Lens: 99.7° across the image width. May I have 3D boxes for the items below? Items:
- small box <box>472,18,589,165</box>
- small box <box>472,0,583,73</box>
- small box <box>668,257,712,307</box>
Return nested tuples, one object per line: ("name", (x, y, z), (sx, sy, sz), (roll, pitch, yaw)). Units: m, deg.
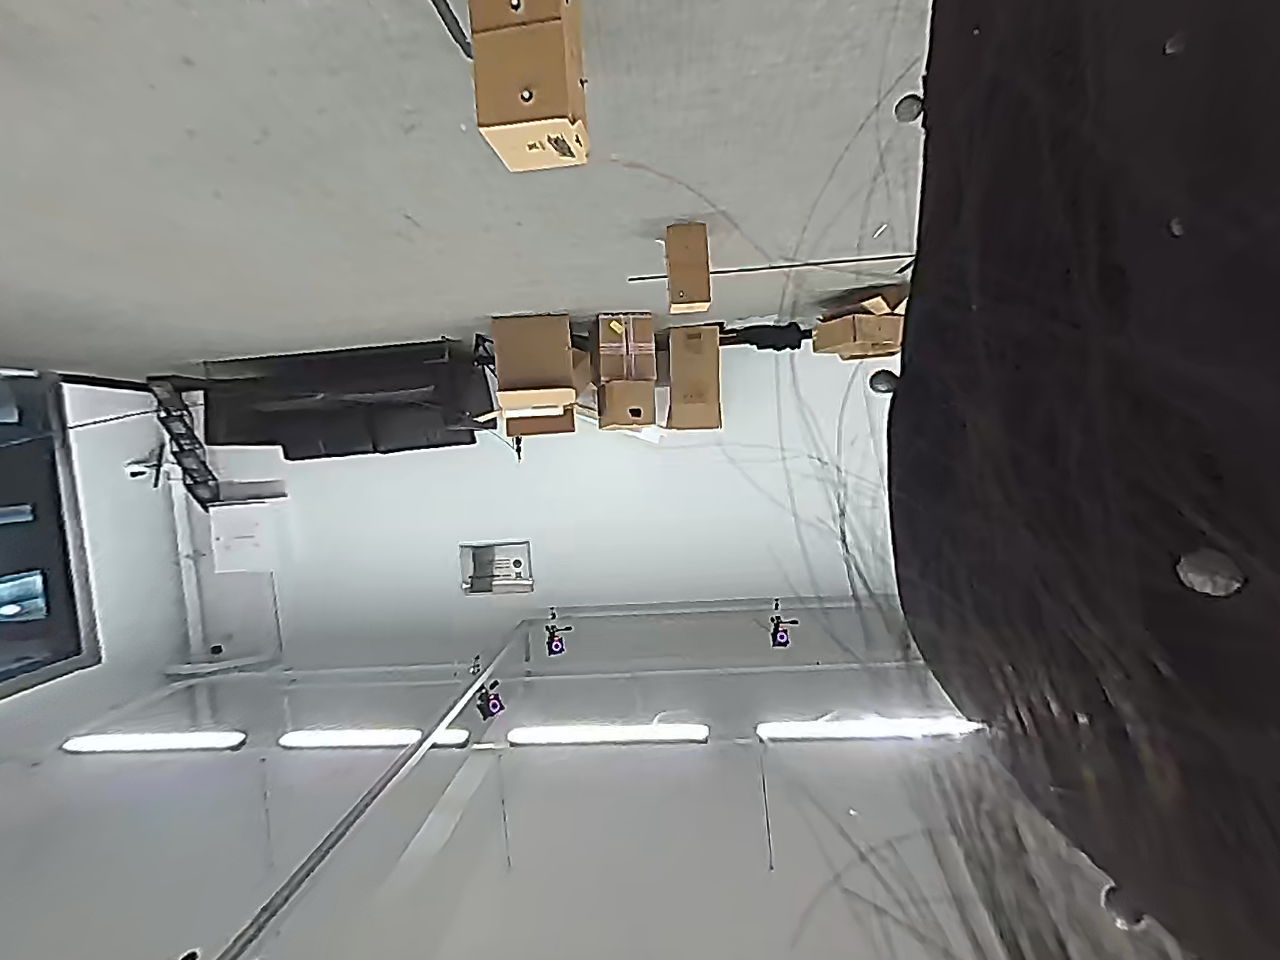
("small box", (-0.207, -0.747, 1.048), (0.179, 0.176, 0.168), (-2, -176, 8))
("small box", (-0.217, -0.912, 1.041), (0.179, 0.176, 0.168), (-2, -176, 9))
("small box", (0.217, -0.876, 2.398), (0.179, 0.176, 0.168), (-4, -175, 1))
